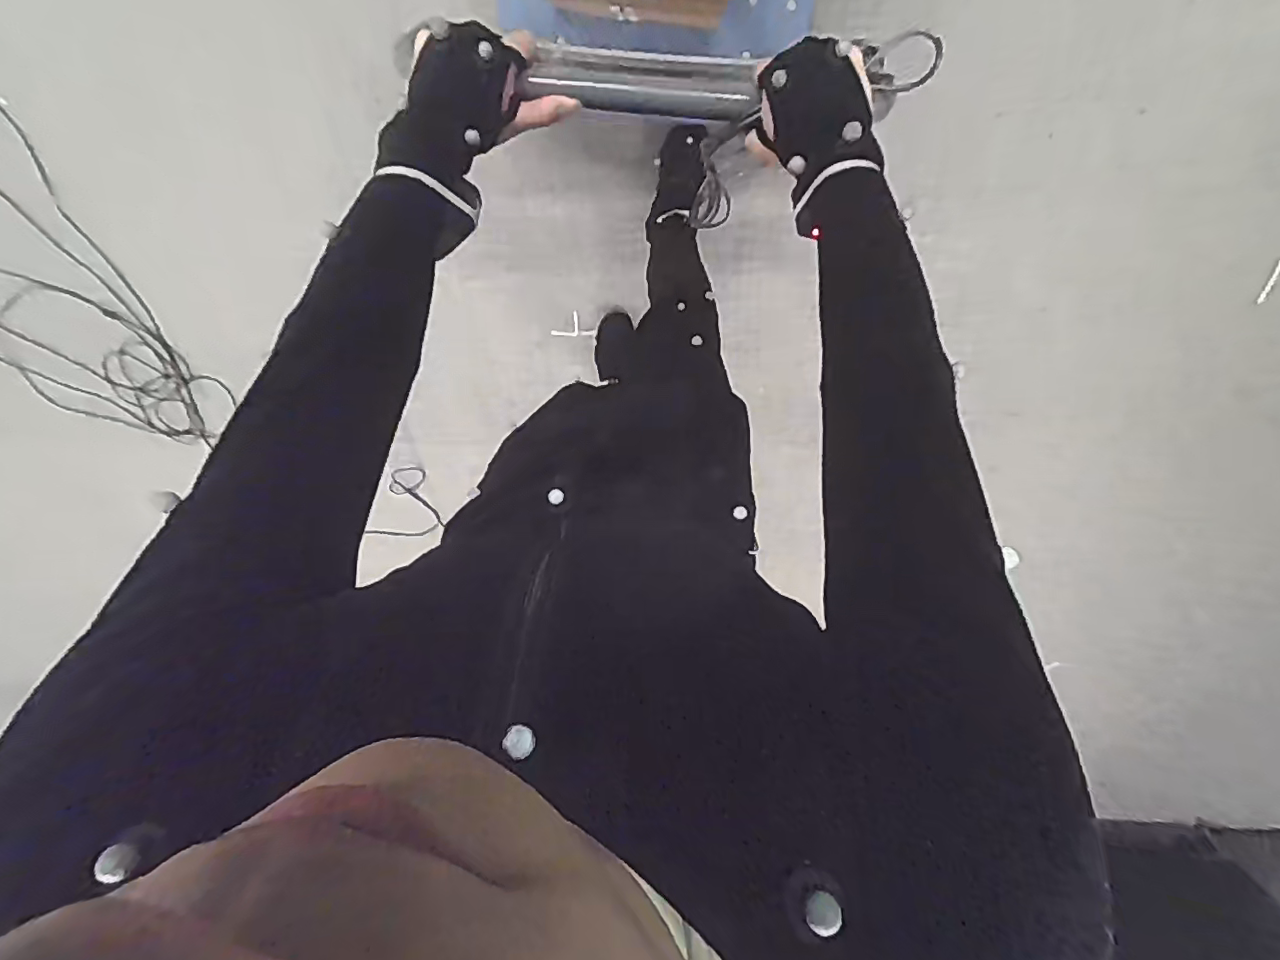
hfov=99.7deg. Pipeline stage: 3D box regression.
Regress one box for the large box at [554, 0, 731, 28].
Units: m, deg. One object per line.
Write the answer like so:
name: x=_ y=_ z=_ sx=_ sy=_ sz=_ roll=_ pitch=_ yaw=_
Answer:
large box: x=0.013 y=-0.943 z=0.770 sx=0.320 sy=0.320 sz=0.408 roll=7 pitch=121 yaw=-2
